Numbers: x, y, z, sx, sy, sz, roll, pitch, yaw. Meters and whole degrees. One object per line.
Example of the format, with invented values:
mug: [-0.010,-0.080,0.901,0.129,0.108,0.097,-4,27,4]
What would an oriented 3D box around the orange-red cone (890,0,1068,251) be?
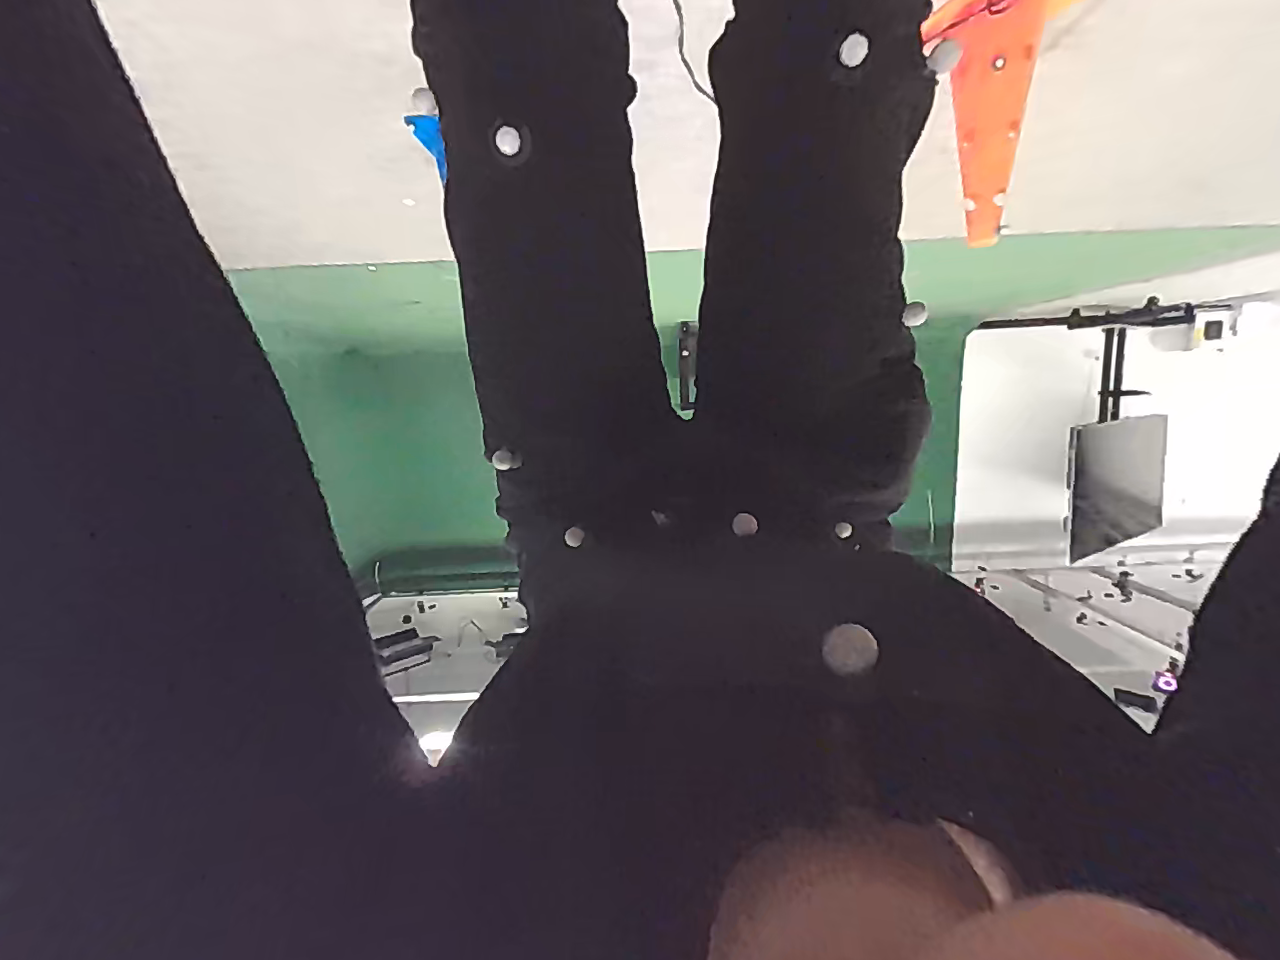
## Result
orange-red cone: [0.554,-0.572,0.898,0.199,0.360,0.198,-8,-170,-20]

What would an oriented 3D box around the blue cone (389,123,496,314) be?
blue cone: [-0.421,-0.574,1.224,0.192,0.380,0.193,-3,-173,-1]
